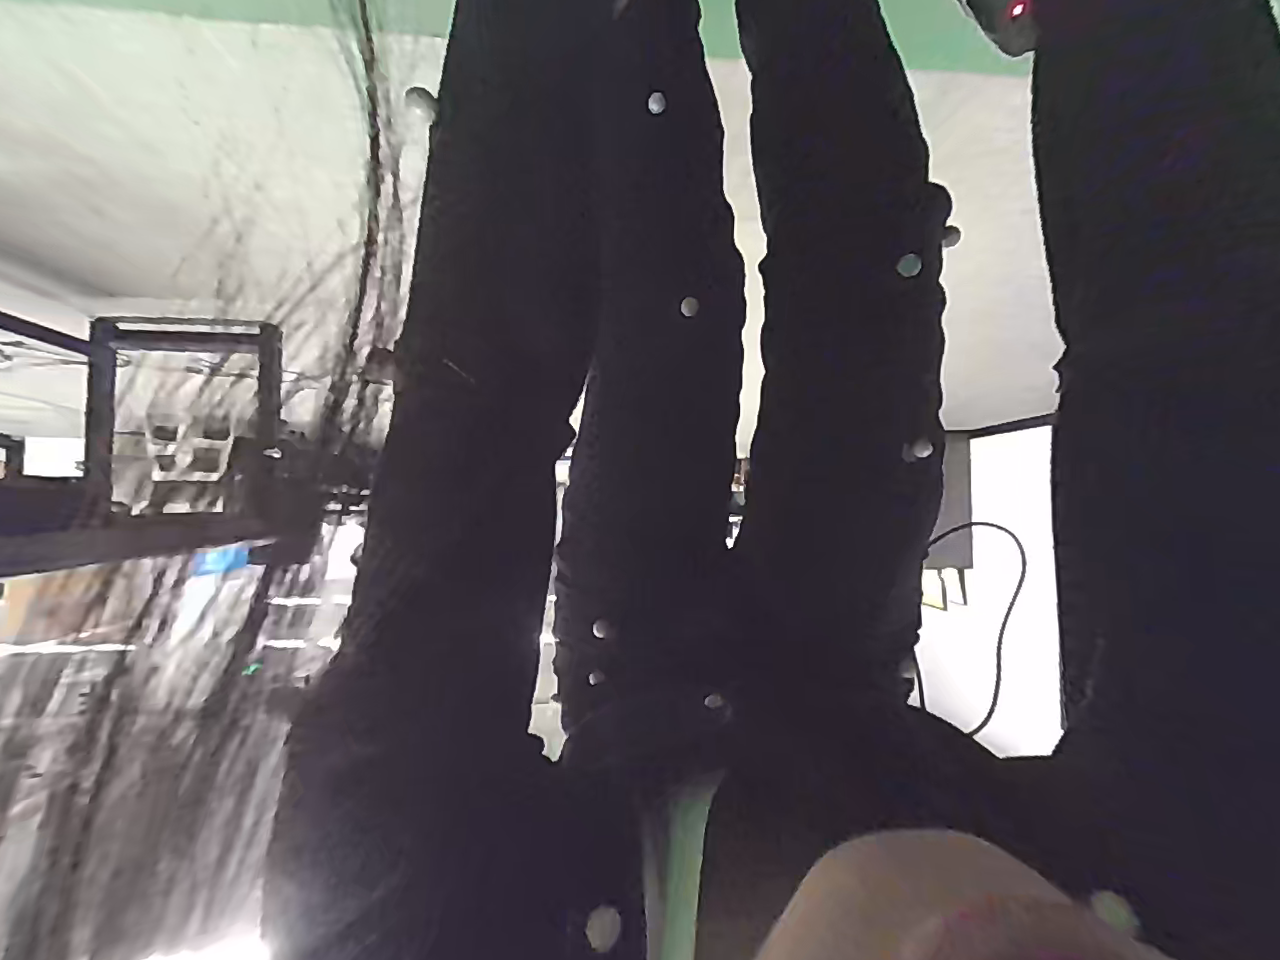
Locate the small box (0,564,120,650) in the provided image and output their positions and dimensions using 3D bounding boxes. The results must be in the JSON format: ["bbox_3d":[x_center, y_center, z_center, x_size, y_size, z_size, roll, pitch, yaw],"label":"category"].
[{"bbox_3d":[-1.333,0.279,1.222,0.179,0.176,0.168,0,176,-9],"label":"small box"}]
